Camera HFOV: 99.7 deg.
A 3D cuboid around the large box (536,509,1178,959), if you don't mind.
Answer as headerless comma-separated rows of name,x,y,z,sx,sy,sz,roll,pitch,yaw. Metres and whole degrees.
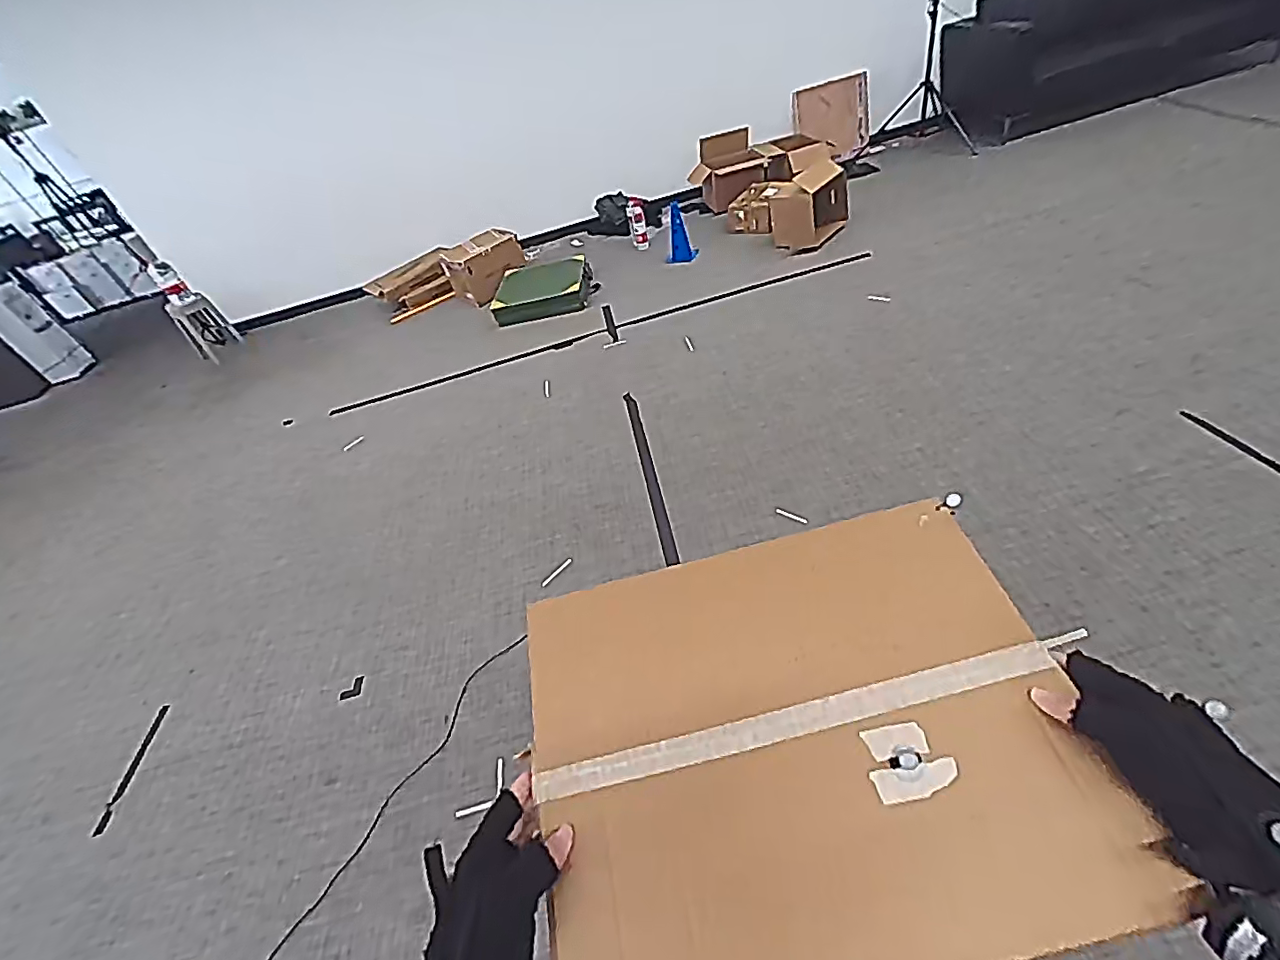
large box,0.143,0.284,0.547,0.408,0.320,0.320,-15,52,1
